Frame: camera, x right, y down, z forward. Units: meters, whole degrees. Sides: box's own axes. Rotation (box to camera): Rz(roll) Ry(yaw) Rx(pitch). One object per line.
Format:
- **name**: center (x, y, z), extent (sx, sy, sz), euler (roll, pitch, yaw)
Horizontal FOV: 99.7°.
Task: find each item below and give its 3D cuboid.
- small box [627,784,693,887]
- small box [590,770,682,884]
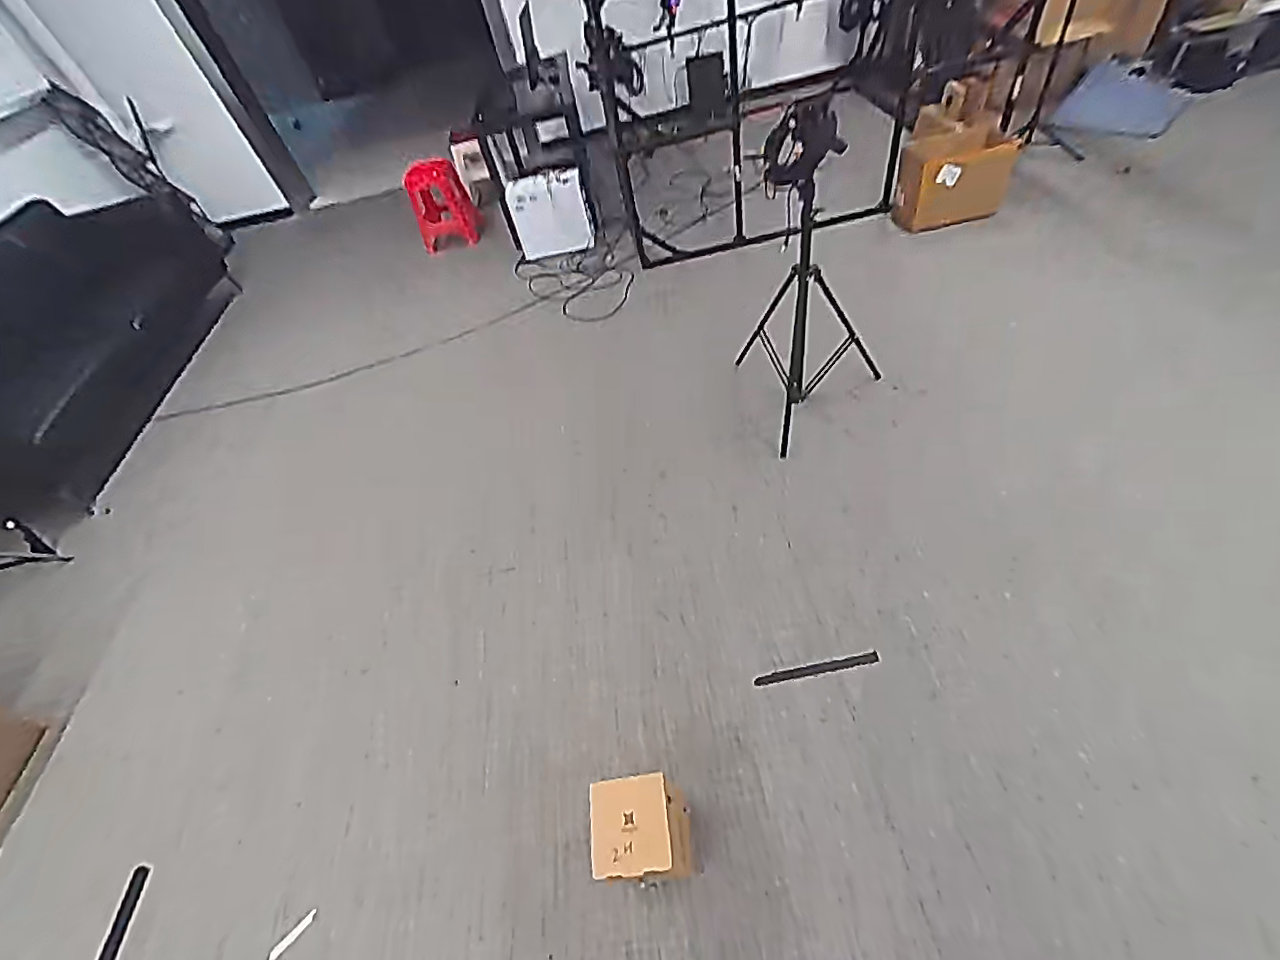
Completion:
- **small box**: center (0.029, 0.853, 1.296), extent (0.168, 0.176, 0.179), euler (-11, 48, 6)
- **small box**: center (-0.009, 0.753, 1.172), extent (0.168, 0.176, 0.179), euler (-12, 49, 6)
